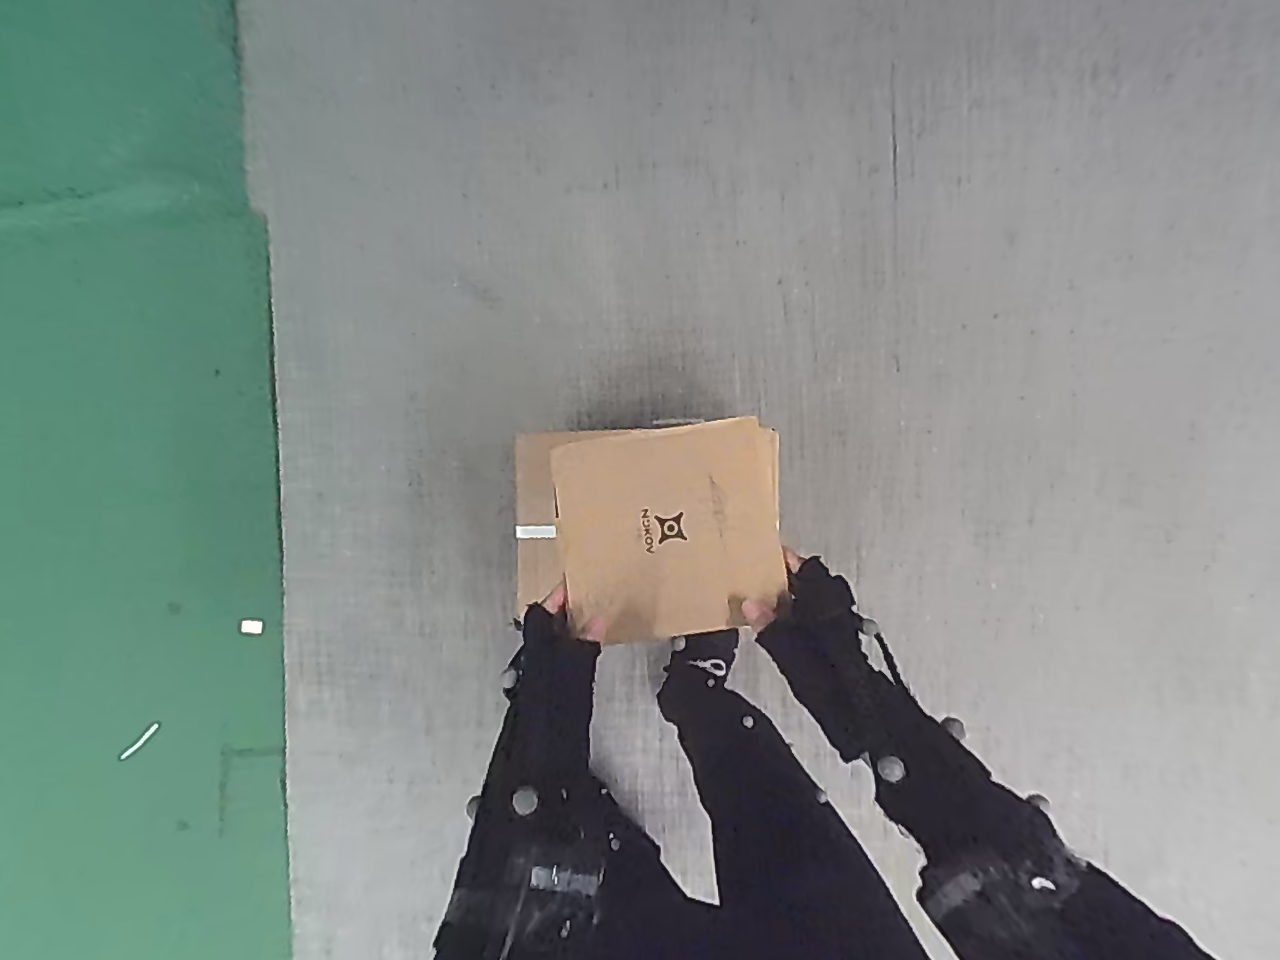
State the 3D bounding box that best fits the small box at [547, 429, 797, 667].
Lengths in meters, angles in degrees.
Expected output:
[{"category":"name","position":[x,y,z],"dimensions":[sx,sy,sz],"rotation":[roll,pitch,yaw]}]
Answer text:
[{"category":"small box","position":[0.027,0.063,0.497],"dimensions":[0.179,0.176,0.168],"rotation":[-9,81,2]}]
